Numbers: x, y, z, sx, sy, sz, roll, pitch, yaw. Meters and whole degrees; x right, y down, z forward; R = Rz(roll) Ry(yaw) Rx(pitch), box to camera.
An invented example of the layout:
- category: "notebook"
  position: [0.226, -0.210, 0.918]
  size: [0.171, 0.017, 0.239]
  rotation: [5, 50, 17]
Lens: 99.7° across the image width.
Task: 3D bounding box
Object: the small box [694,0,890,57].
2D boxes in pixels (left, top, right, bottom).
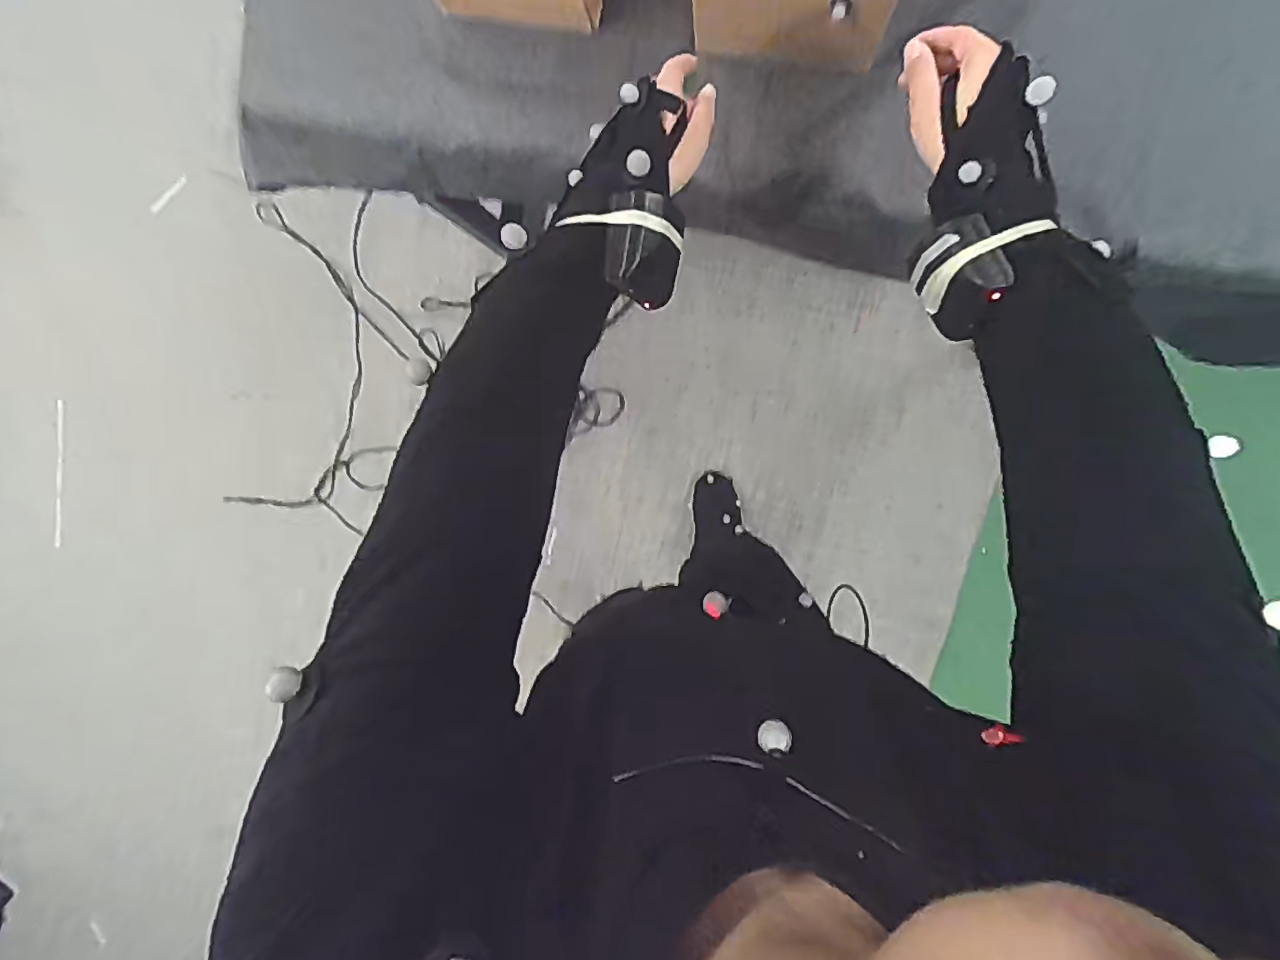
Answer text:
- category: "small box"
  position: [0.143, -0.493, 0.446]
  size: [0.179, 0.176, 0.168]
  rotation: [13, 98, 9]

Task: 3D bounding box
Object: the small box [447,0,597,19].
- category: "small box"
  position: [-0.128, -0.561, 0.481]
  size: [0.179, 0.176, 0.168]
  rotation: [12, 99, 7]
